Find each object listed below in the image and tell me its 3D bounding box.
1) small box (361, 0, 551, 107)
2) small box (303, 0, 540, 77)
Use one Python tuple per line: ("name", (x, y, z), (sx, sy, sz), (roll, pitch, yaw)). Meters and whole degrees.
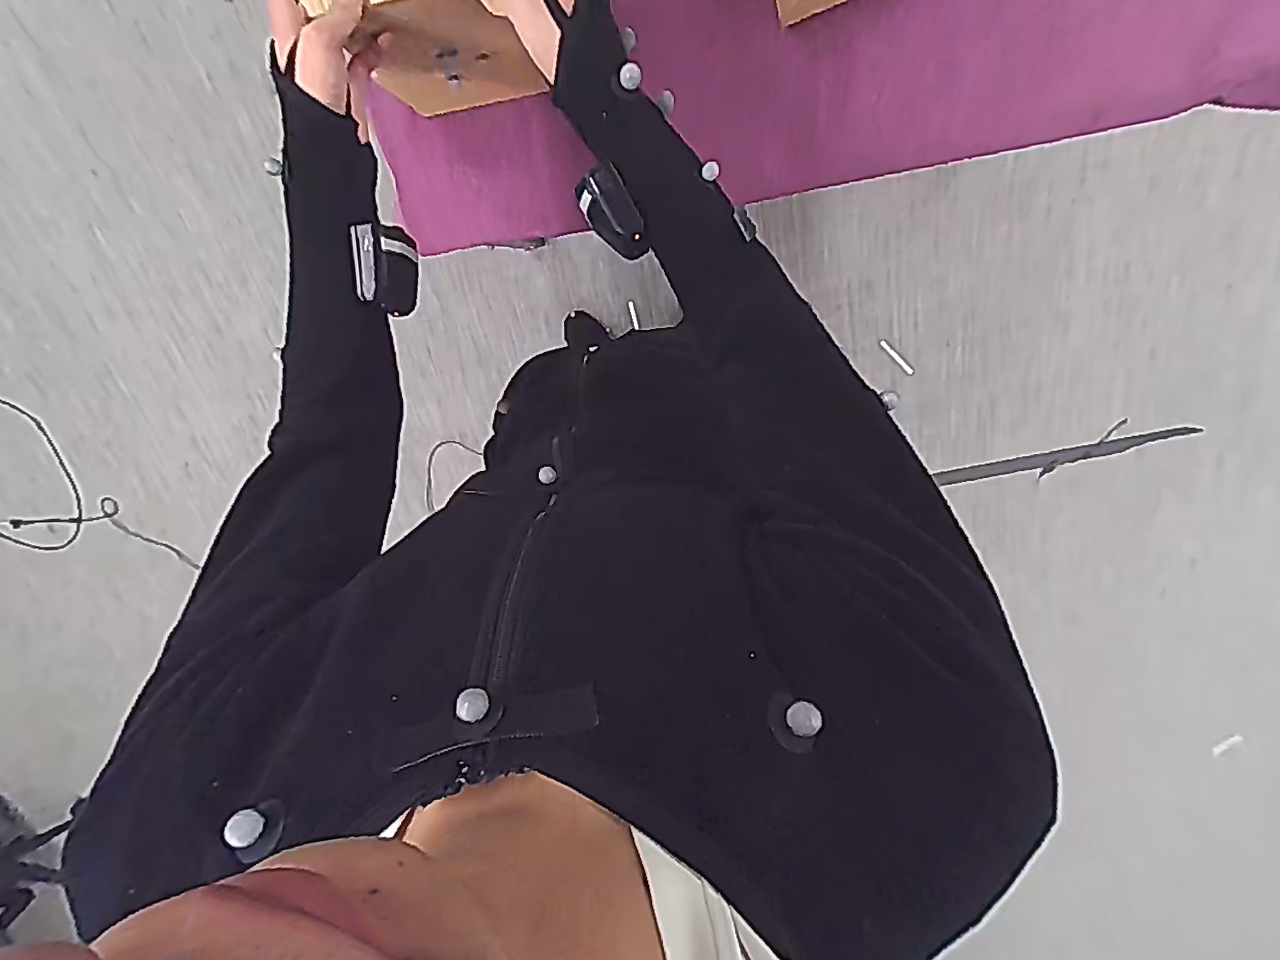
("small box", (-0.208, -0.538, 0.596), (0.179, 0.176, 0.168), (-10, 112, 2))
("small box", (-0.189, -0.473, 0.446), (0.168, 0.176, 0.179), (-10, 113, 2))
